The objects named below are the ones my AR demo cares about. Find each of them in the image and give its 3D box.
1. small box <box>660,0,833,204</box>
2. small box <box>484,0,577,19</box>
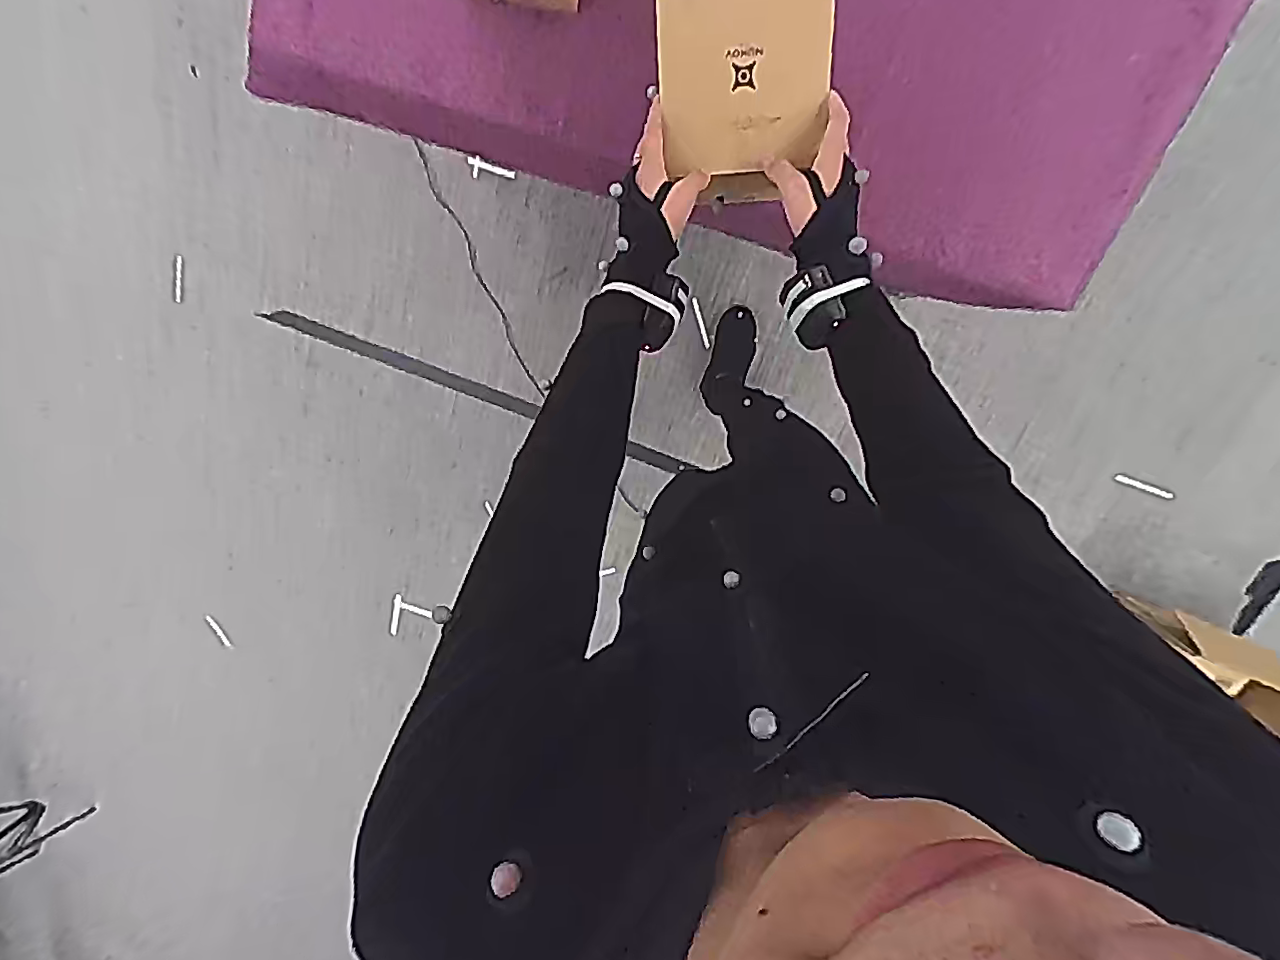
[{"bbox_3d":[0.106,-0.423,0.601,0.168,0.176,0.179,-1,107,5],"label":"small box"},{"bbox_3d":[-0.155,-0.675,0.606,0.168,0.176,0.179,16,111,4],"label":"small box"}]
